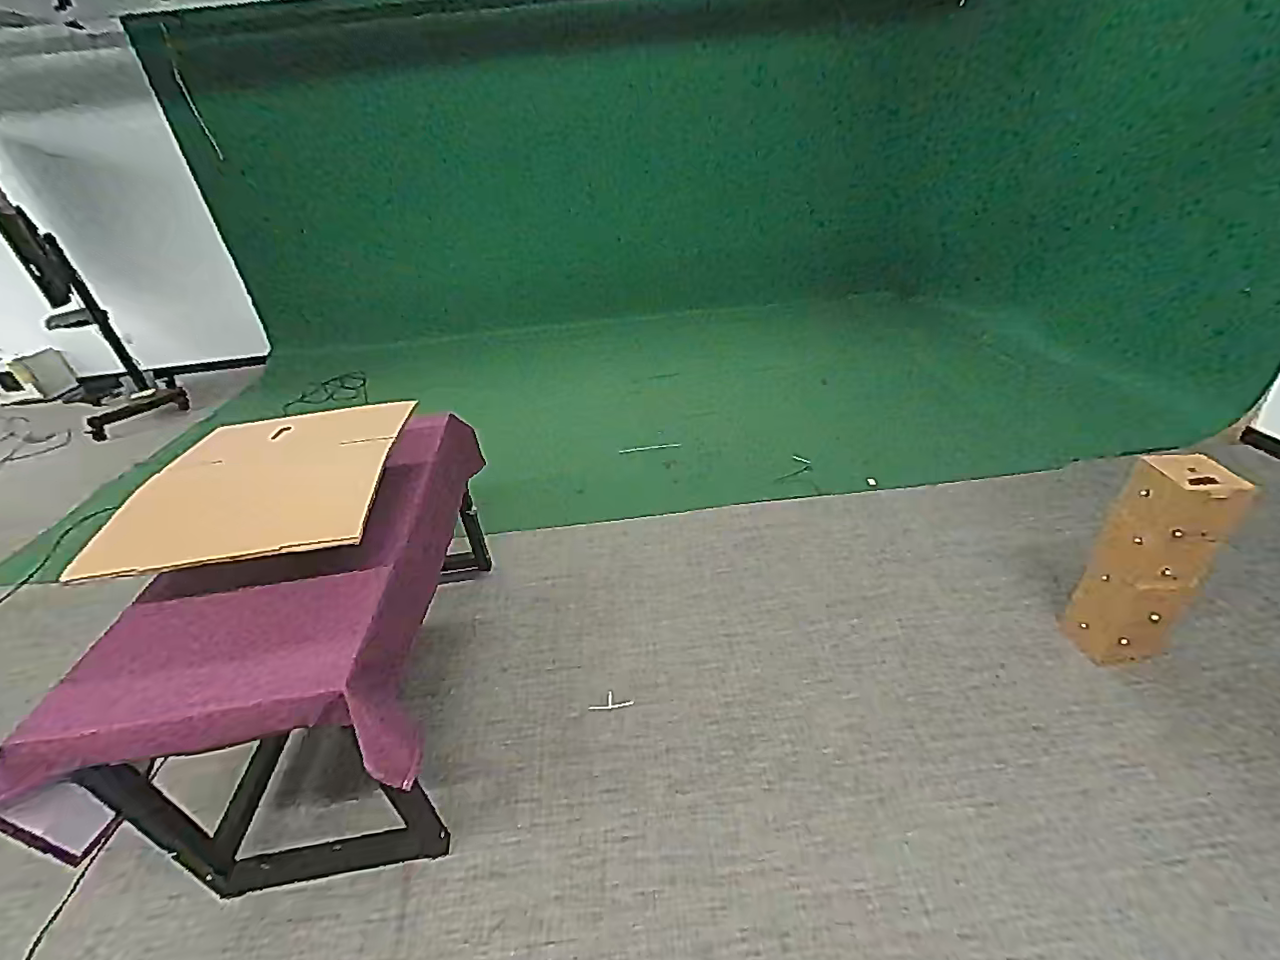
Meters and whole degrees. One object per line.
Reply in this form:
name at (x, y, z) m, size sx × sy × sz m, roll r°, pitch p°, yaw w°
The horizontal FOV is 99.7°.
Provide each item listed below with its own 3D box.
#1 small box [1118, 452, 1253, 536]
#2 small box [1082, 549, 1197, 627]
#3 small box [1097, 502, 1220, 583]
small box at (1.475, 0.042, 1.477) m, size 0.168 × 0.176 × 0.179 m, roll -2°, pitch 32°, yaw 6°
small box at (1.504, 0.321, 1.645) m, size 0.168 × 0.176 × 0.179 m, roll -6°, pitch 32°, yaw 3°
small box at (1.487, 0.178, 1.568) m, size 0.168 × 0.176 × 0.179 m, roll -4°, pitch 33°, yaw 5°
